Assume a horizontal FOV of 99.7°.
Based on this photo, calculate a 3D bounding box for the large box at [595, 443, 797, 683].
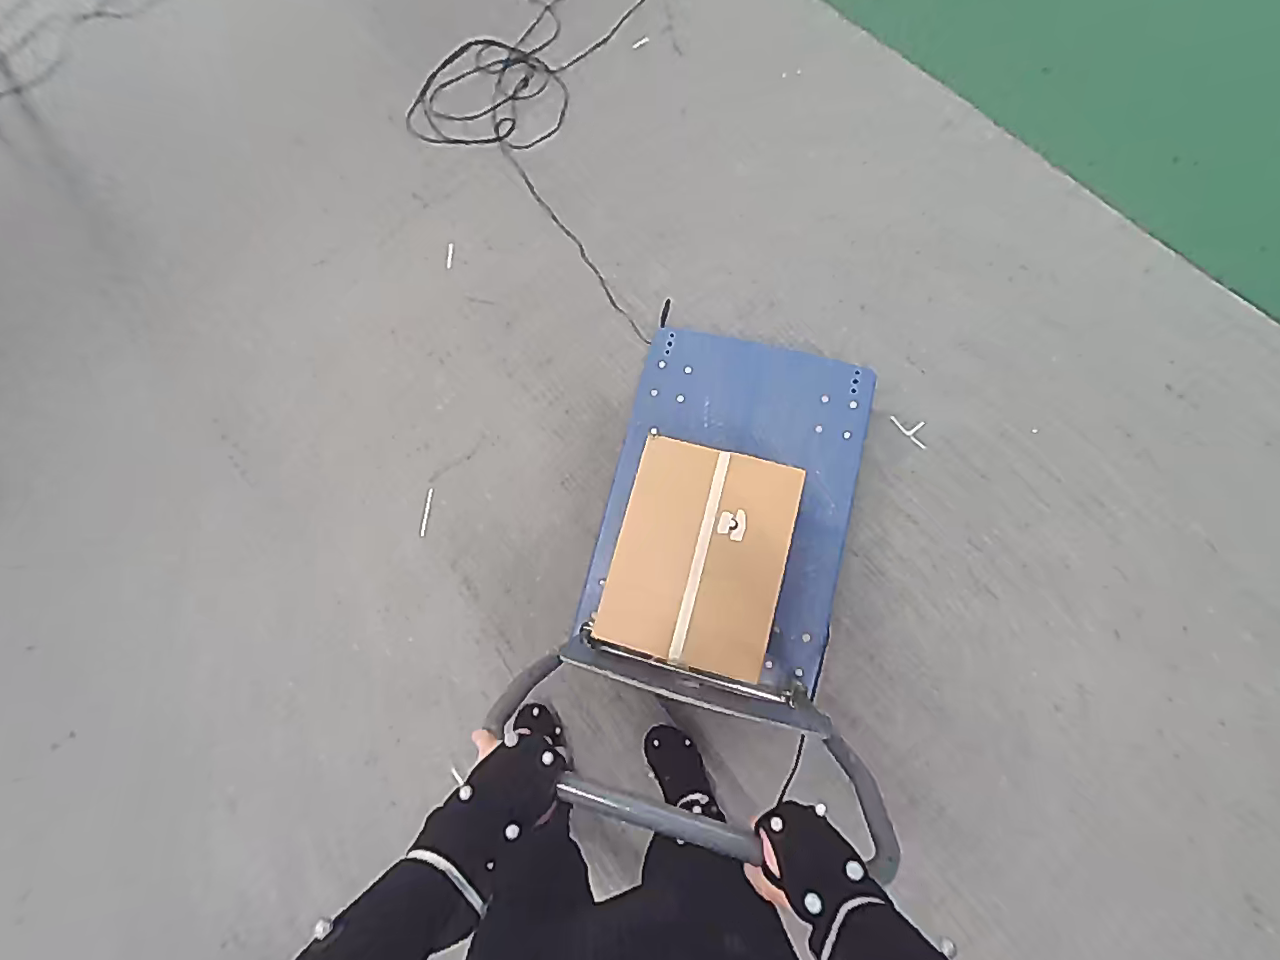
[{"bbox_3d":[0.124,0.182,1.173,0.320,0.320,0.408,15,78,8],"label":"large box"}]
